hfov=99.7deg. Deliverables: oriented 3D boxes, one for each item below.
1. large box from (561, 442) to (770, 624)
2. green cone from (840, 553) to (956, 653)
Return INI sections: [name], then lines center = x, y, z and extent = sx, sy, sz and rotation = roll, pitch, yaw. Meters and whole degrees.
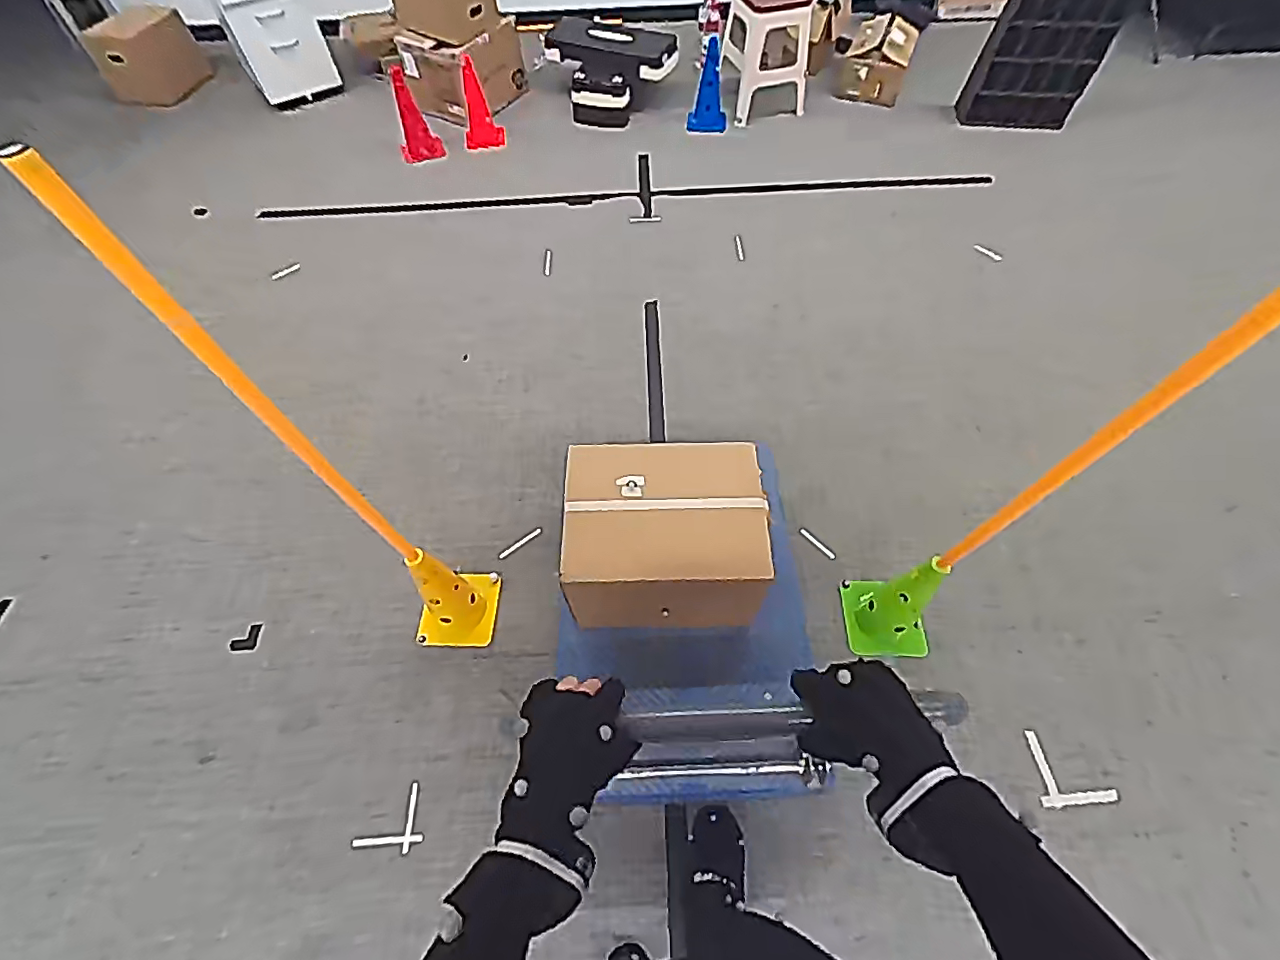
[large box]
center = 0.051, 0.131, 1.222
extent = 0.408, 0.320, 0.320
rotation = -1, 59, 1
[green cone]
center = 0.643, 0.268, 1.292
extent = 0.202, 0.368, 0.200
rotation = 2, 59, 1
